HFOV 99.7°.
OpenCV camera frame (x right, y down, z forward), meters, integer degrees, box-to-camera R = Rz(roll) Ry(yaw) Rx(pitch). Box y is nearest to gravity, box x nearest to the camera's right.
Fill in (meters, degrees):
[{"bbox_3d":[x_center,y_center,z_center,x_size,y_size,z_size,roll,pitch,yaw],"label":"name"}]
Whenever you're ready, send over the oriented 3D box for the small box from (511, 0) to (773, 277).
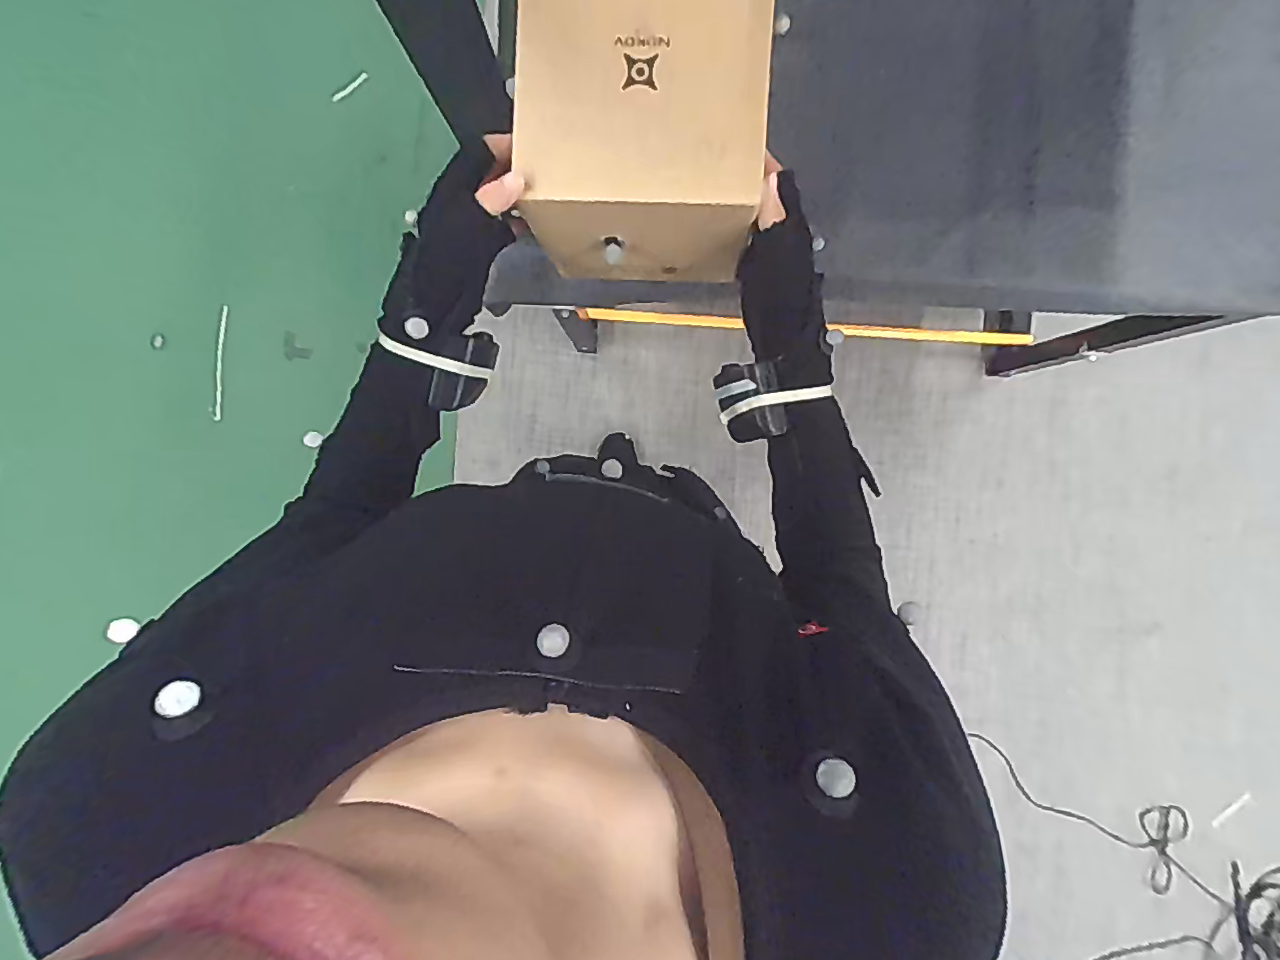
[{"bbox_3d":[0.006,-0.272,0.424,0.168,0.176,0.179,3,93,3],"label":"small box"}]
